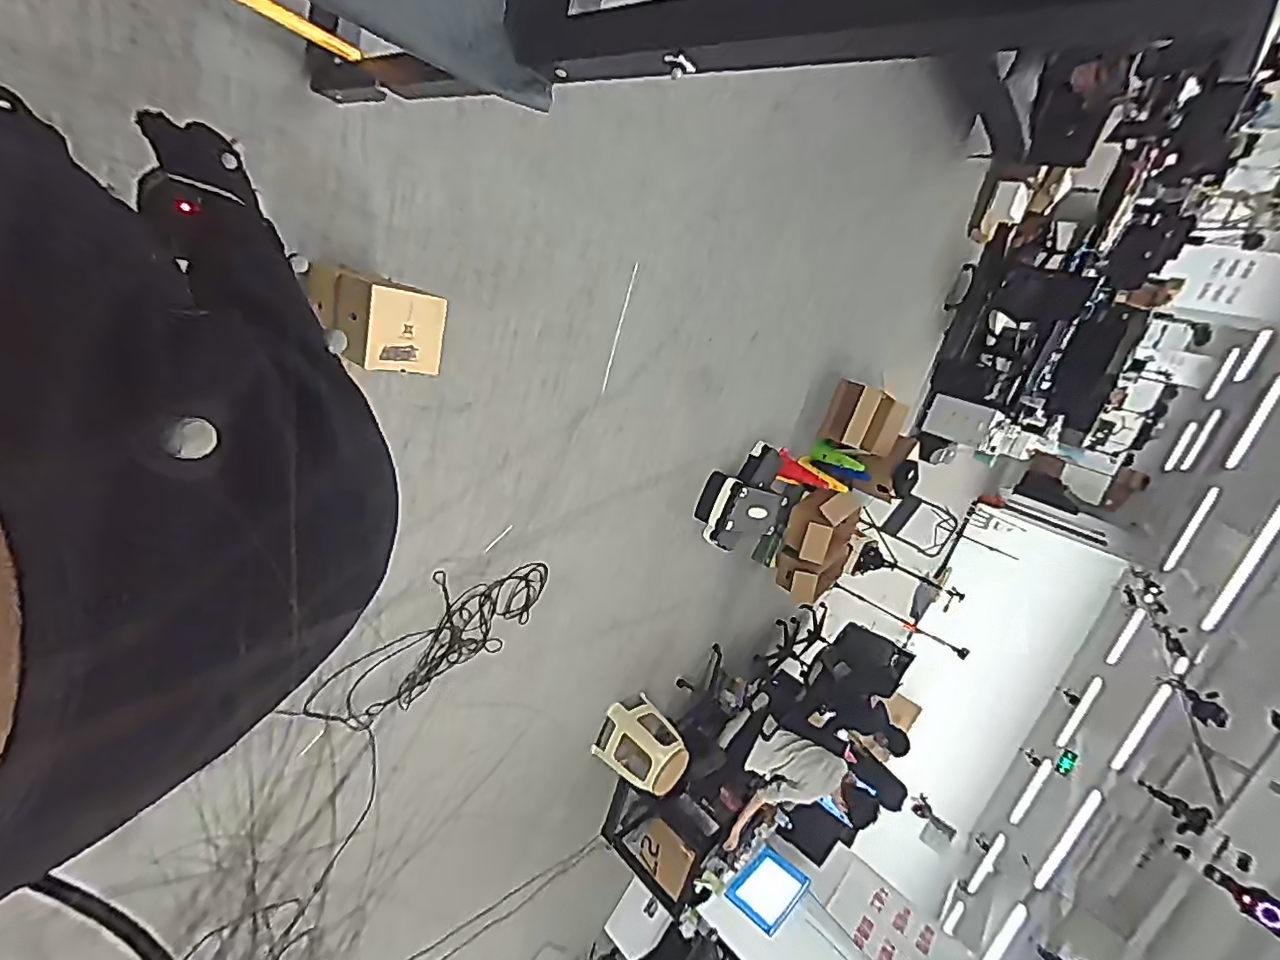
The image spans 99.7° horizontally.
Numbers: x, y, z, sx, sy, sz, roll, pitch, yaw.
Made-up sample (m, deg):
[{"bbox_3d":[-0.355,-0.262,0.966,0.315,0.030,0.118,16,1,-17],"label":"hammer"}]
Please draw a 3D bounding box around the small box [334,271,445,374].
[{"bbox_3d":[-0.562,-0.349,1.205,0.168,0.176,0.179,-5,116,-49],"label":"small box"}]
